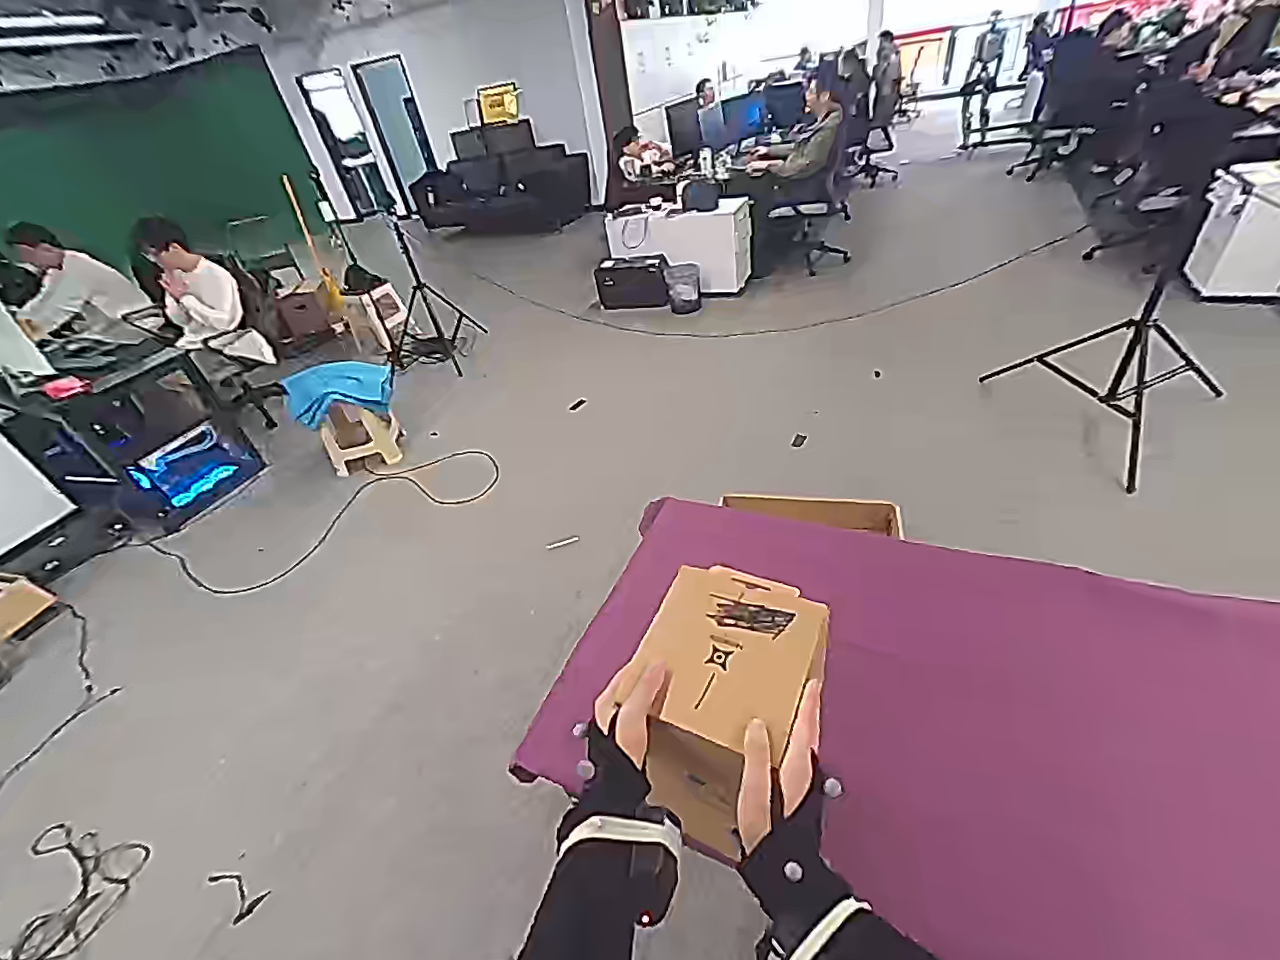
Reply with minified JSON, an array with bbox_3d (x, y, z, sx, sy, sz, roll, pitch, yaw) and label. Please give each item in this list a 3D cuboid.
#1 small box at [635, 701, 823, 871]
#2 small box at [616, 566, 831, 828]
[{"bbox_3d":[0.119,0.356,0.684,0.179,0.176,0.168,13,46,28],"label":"small box"},{"bbox_3d":[0.098,0.228,0.583,0.168,0.176,0.179,12,47,27],"label":"small box"}]
